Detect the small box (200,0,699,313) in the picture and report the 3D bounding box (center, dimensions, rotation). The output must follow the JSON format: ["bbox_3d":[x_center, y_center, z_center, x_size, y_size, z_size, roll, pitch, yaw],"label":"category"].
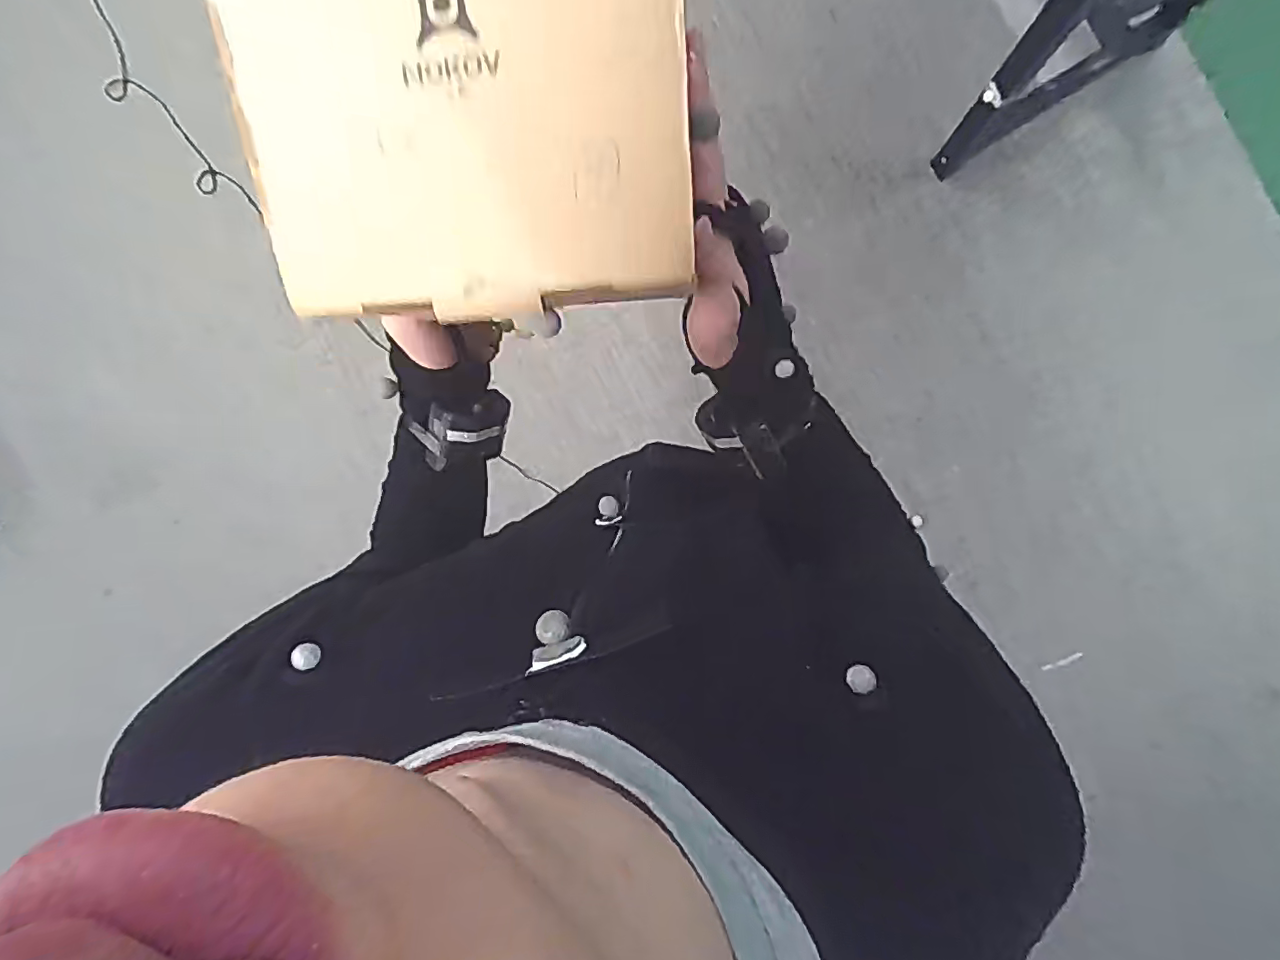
[{"bbox_3d":[-0.057,-0.176,0.252,0.168,0.176,0.179,-3,107,5],"label":"small box"}]
